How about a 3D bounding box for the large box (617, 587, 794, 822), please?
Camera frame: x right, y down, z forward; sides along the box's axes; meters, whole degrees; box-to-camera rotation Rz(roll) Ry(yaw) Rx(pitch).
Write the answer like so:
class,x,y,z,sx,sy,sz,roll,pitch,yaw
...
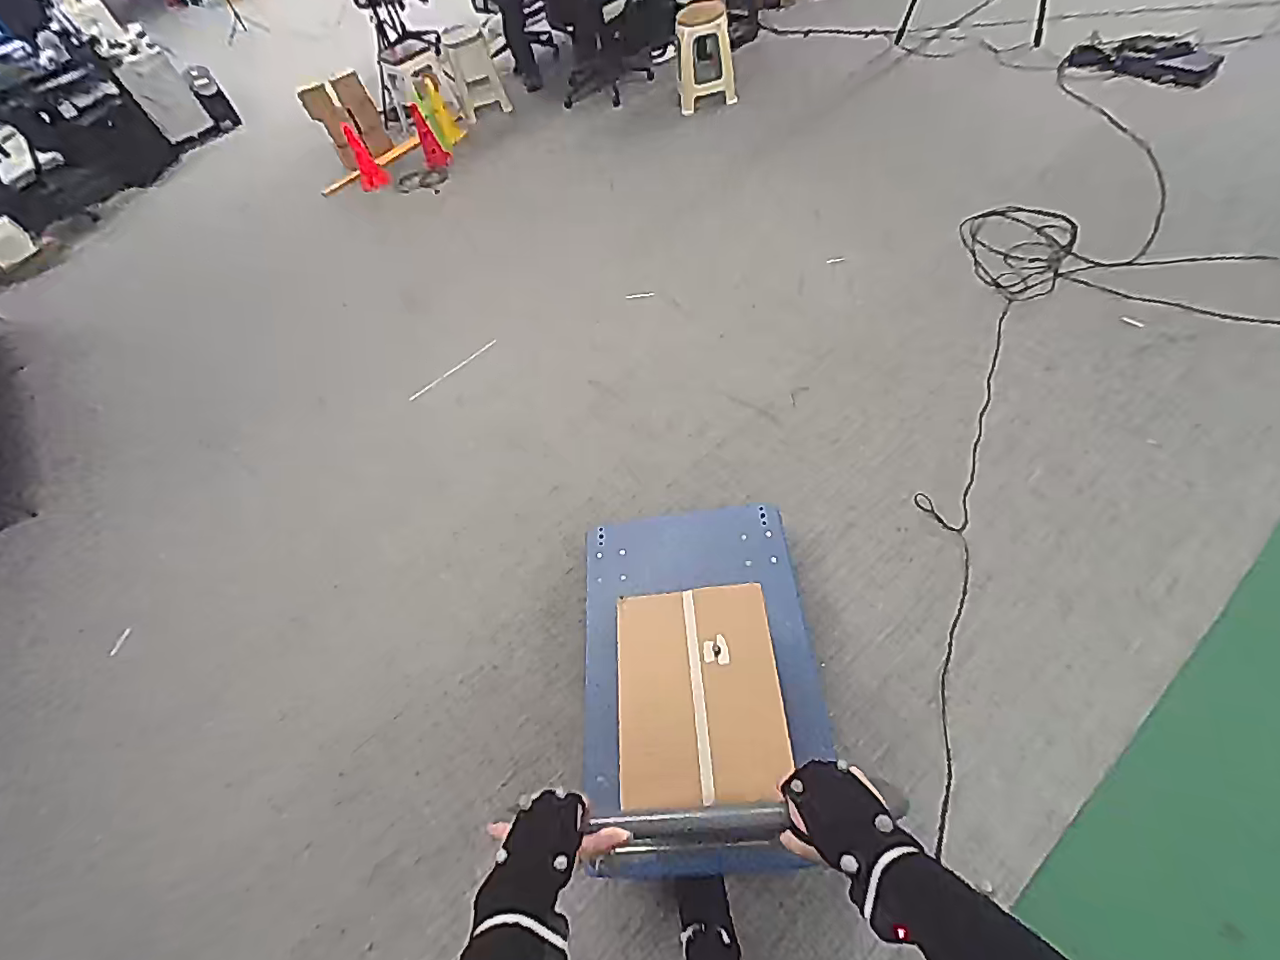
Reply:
class,x,y,z,sx,sy,sz,roll,pitch,yaw
large box,0.136,0.496,1.186,0.320,0.320,0.408,-7,54,6
